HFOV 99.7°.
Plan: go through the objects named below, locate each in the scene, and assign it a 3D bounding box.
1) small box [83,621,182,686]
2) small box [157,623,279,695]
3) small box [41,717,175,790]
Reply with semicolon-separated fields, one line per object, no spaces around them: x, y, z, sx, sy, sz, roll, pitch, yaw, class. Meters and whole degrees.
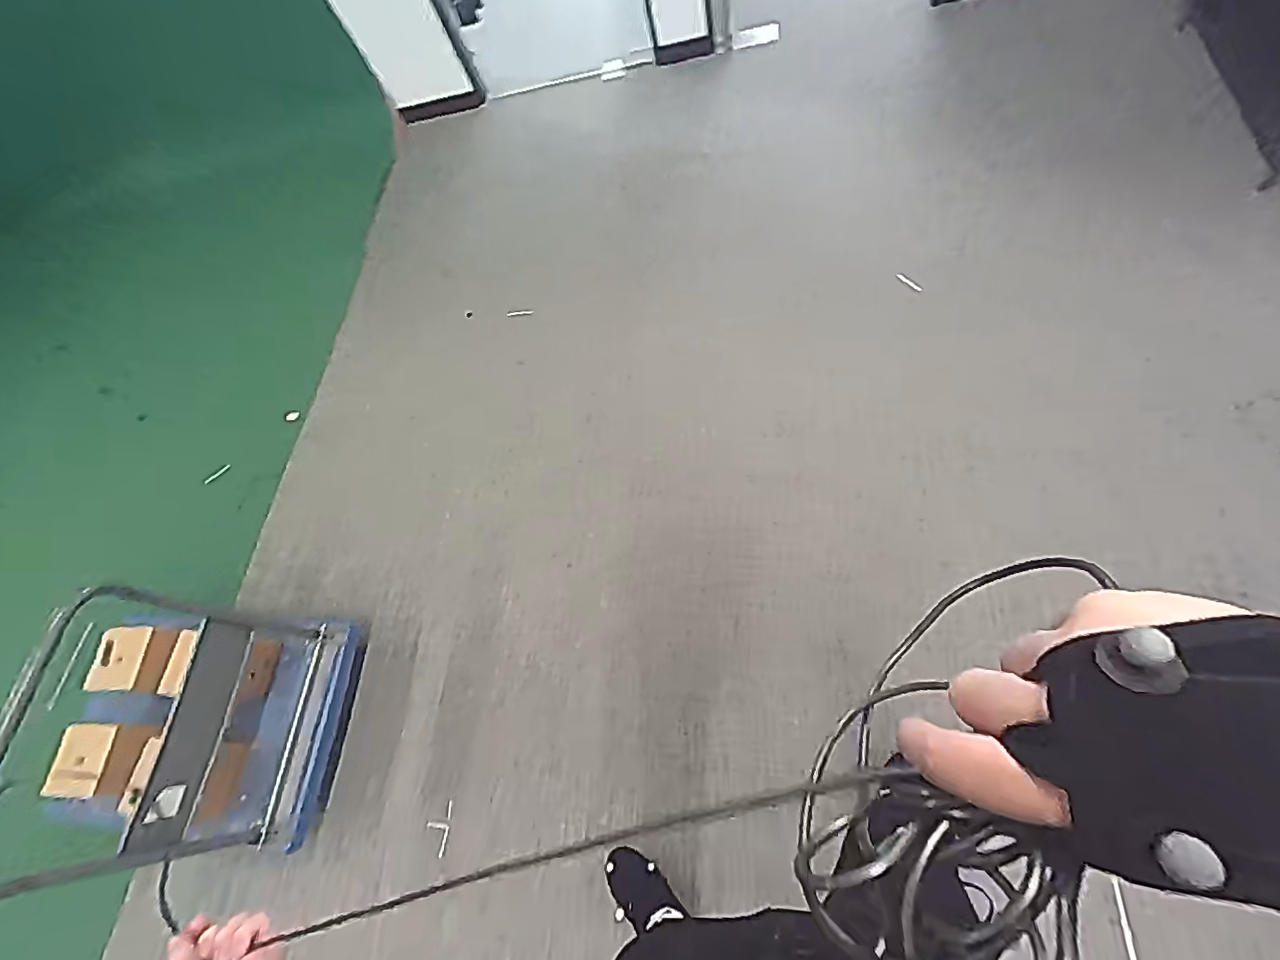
-1.430;0.507;1.573;0.179;0.176;0.168;-4;66;11;small box
-1.168;0.503;1.509;0.179;0.176;0.168;0;66;14;small box
-1.433;0.736;1.470;0.179;0.176;0.168;-4;65;12;small box
